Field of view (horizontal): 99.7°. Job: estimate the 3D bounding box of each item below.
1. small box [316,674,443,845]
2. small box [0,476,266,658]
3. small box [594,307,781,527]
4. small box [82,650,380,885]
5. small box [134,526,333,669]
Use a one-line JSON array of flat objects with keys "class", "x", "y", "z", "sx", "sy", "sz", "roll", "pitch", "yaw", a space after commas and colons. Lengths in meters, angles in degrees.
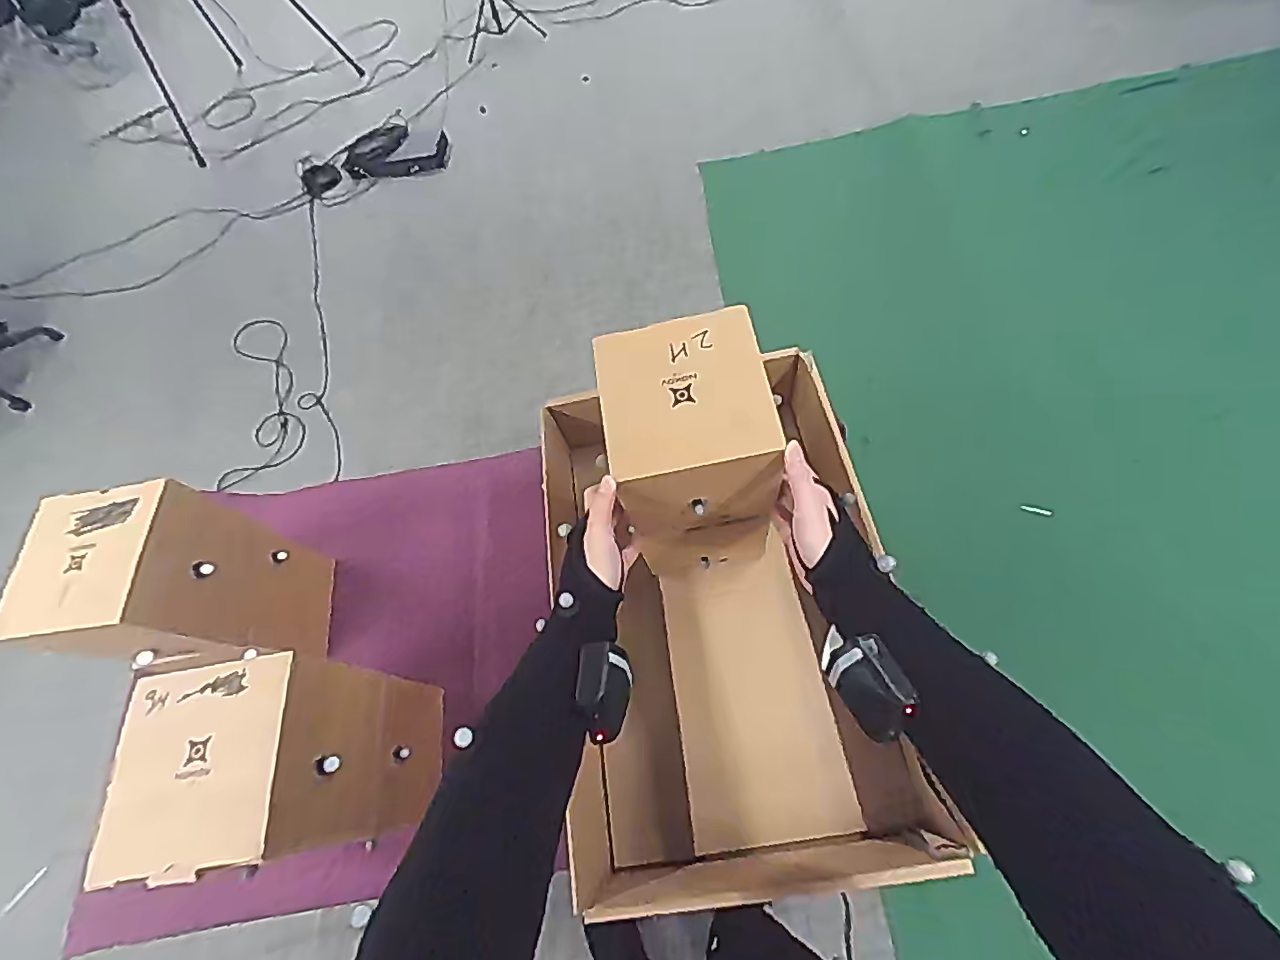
[{"class": "small box", "x": -0.374, "y": 0.366, "z": 0.708, "sx": 0.168, "sy": 0.176, "sz": 0.179, "roll": -10, "pitch": 61, "yaw": 3}, {"class": "small box", "x": -0.619, "y": 0.117, "z": 0.684, "sx": 0.168, "sy": 0.176, "sz": 0.179, "roll": -8, "pitch": 64, "yaw": 5}, {"class": "small box", "x": 0.052, "y": -0.056, "z": 0.601, "sx": 0.168, "sy": 0.176, "sz": 0.179, "roll": -10, "pitch": 65, "yaw": 4}, {"class": "small box", "x": -0.396, "y": 0.289, "z": 0.564, "sx": 0.168, "sy": 0.176, "sz": 0.179, "roll": -10, "pitch": 63, "yaw": 3}, {"class": "small box", "x": -0.602, "y": 0.193, "z": 0.829, "sx": 0.168, "sy": 0.176, "sz": 0.179, "roll": -12, "pitch": 62, "yaw": 3}]
